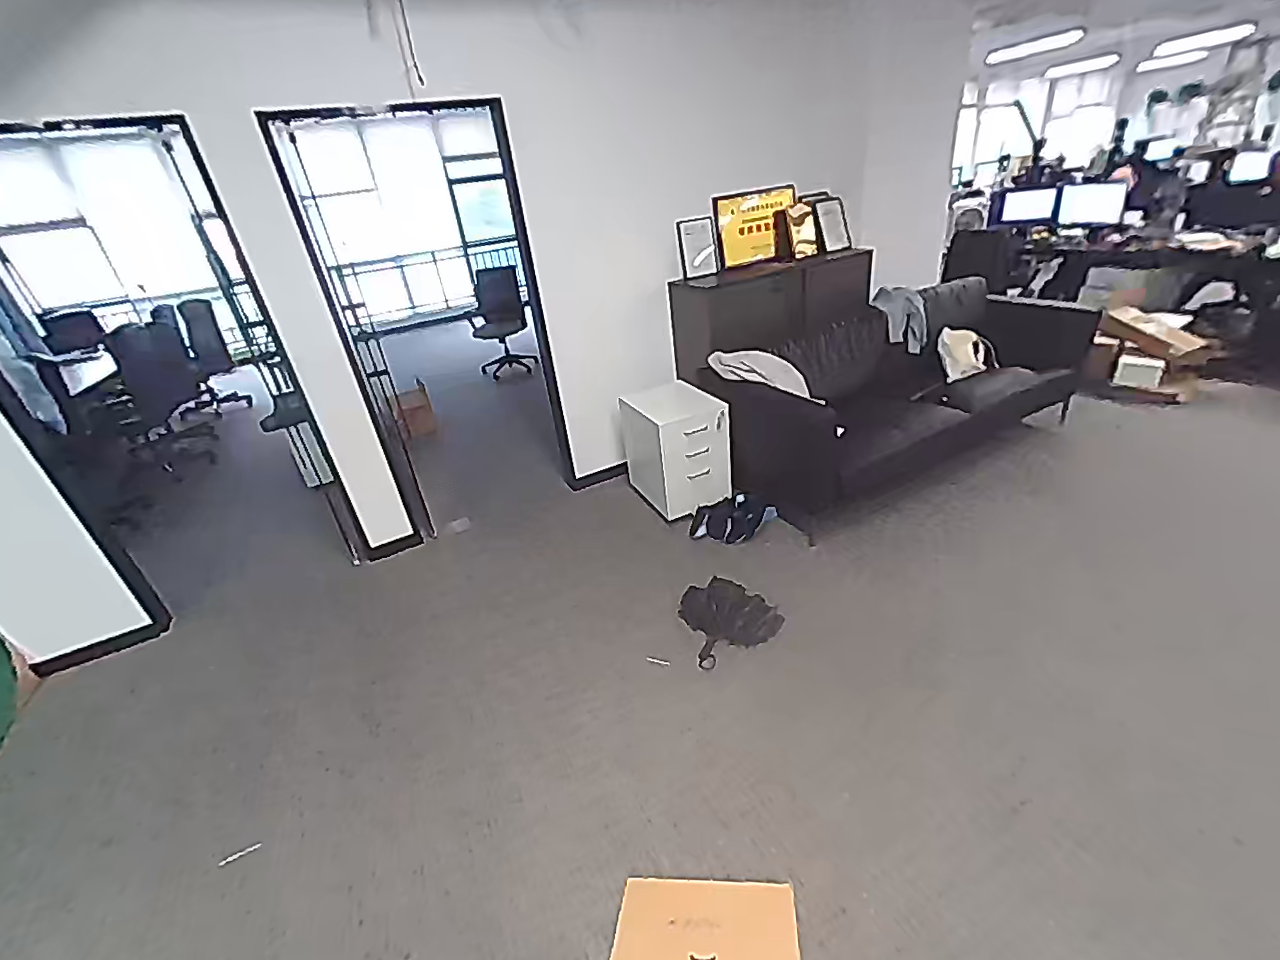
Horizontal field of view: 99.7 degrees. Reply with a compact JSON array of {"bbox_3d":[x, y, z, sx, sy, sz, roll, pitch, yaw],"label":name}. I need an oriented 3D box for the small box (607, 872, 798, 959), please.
[{"bbox_3d":[0.061,0.490,0.469,0.168,0.176,0.179,-5,10,11],"label":"small box"}]
